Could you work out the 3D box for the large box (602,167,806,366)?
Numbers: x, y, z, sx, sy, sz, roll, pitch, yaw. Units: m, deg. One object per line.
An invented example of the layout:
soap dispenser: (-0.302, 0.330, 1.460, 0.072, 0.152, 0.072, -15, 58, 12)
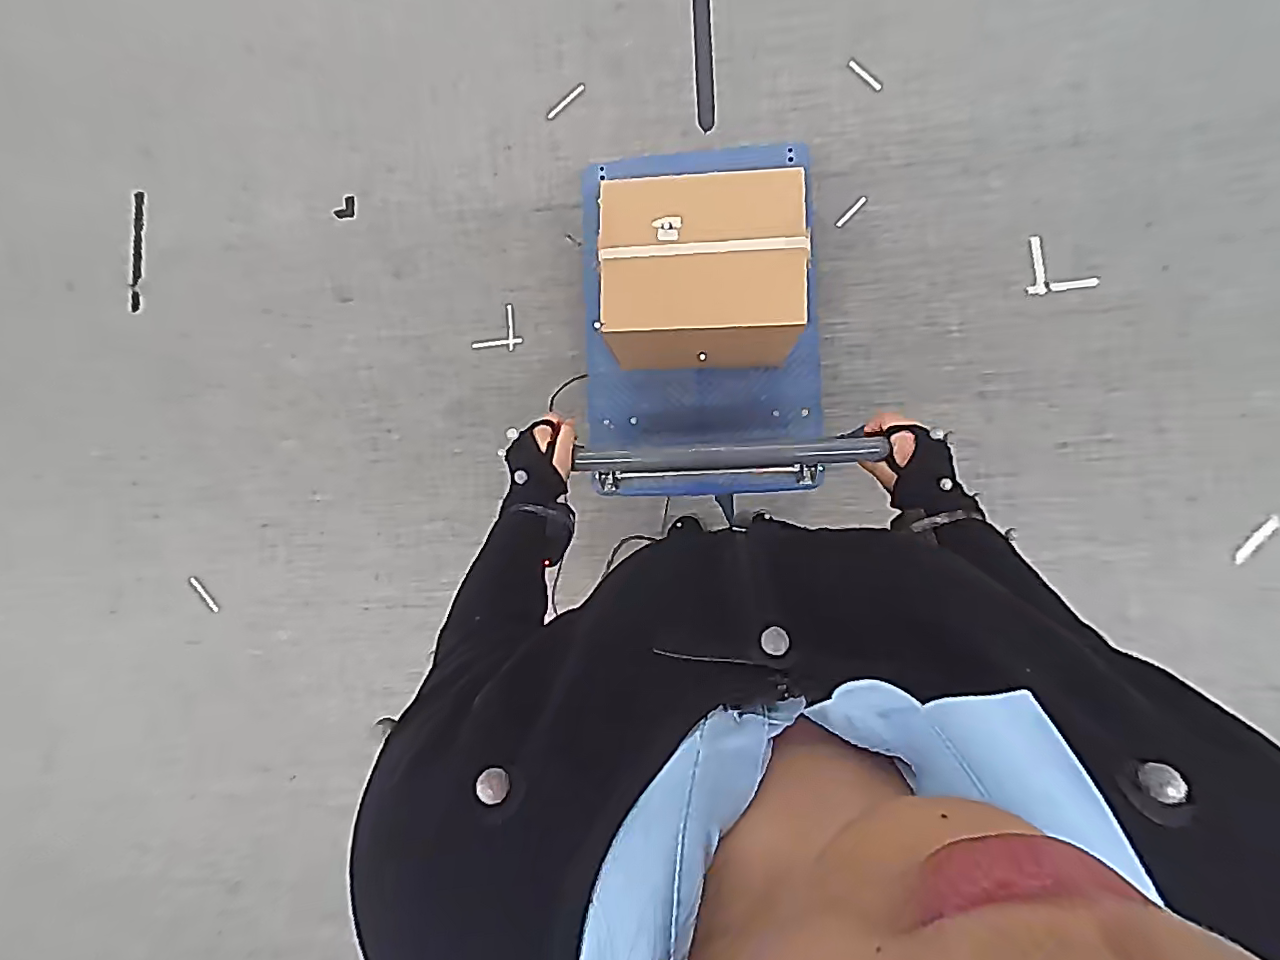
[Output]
large box: (0.142, -0.451, 1.223, 0.408, 0.320, 0.320, -1, 86, 7)
